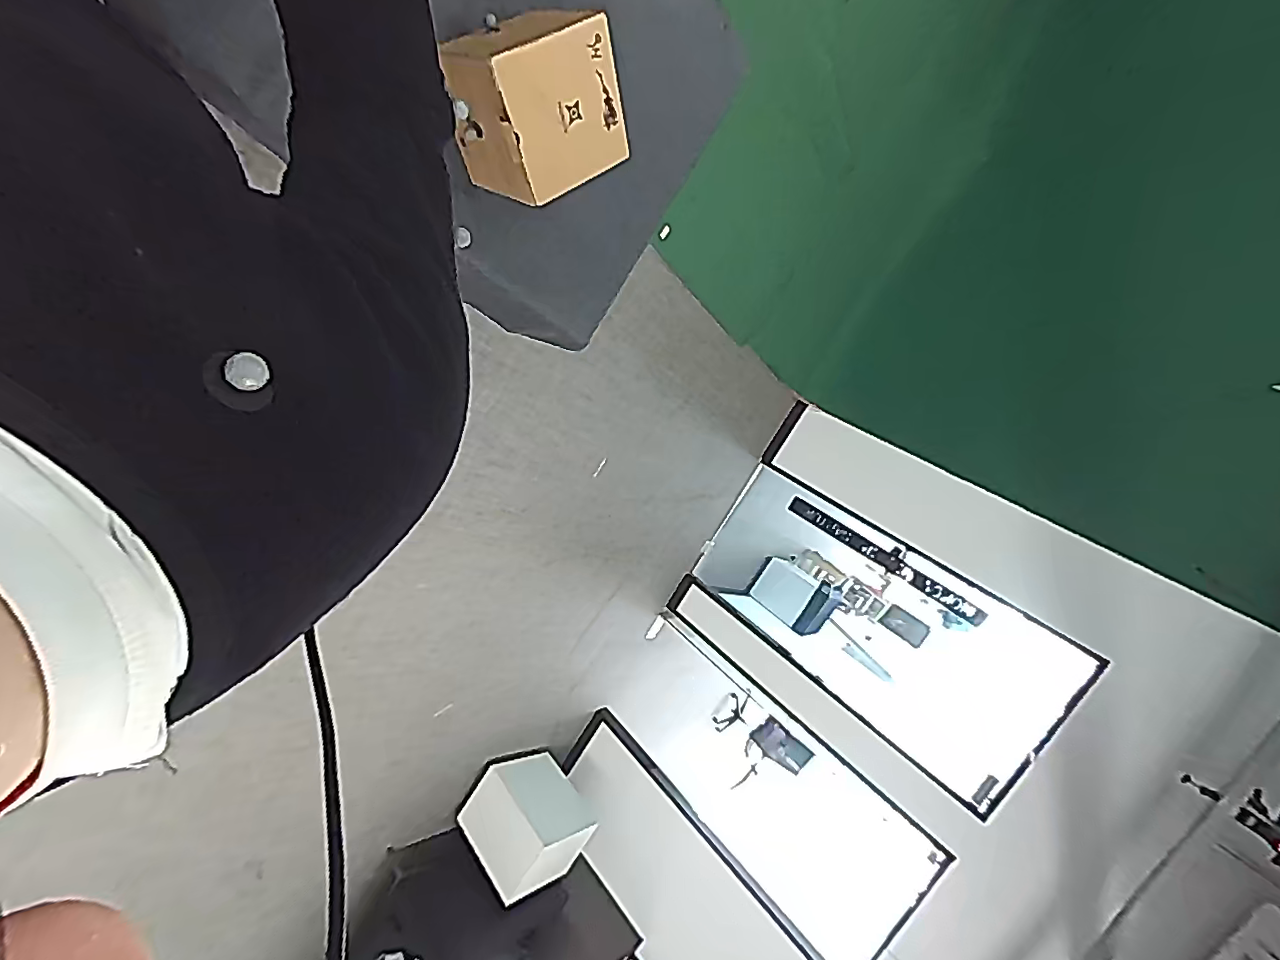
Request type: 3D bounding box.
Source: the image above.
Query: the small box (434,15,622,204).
[{"bbox_3d":[-0.154,-0.508,0.740,0.179,0.176,0.168,-38,143,-20],"label":"small box"}]
